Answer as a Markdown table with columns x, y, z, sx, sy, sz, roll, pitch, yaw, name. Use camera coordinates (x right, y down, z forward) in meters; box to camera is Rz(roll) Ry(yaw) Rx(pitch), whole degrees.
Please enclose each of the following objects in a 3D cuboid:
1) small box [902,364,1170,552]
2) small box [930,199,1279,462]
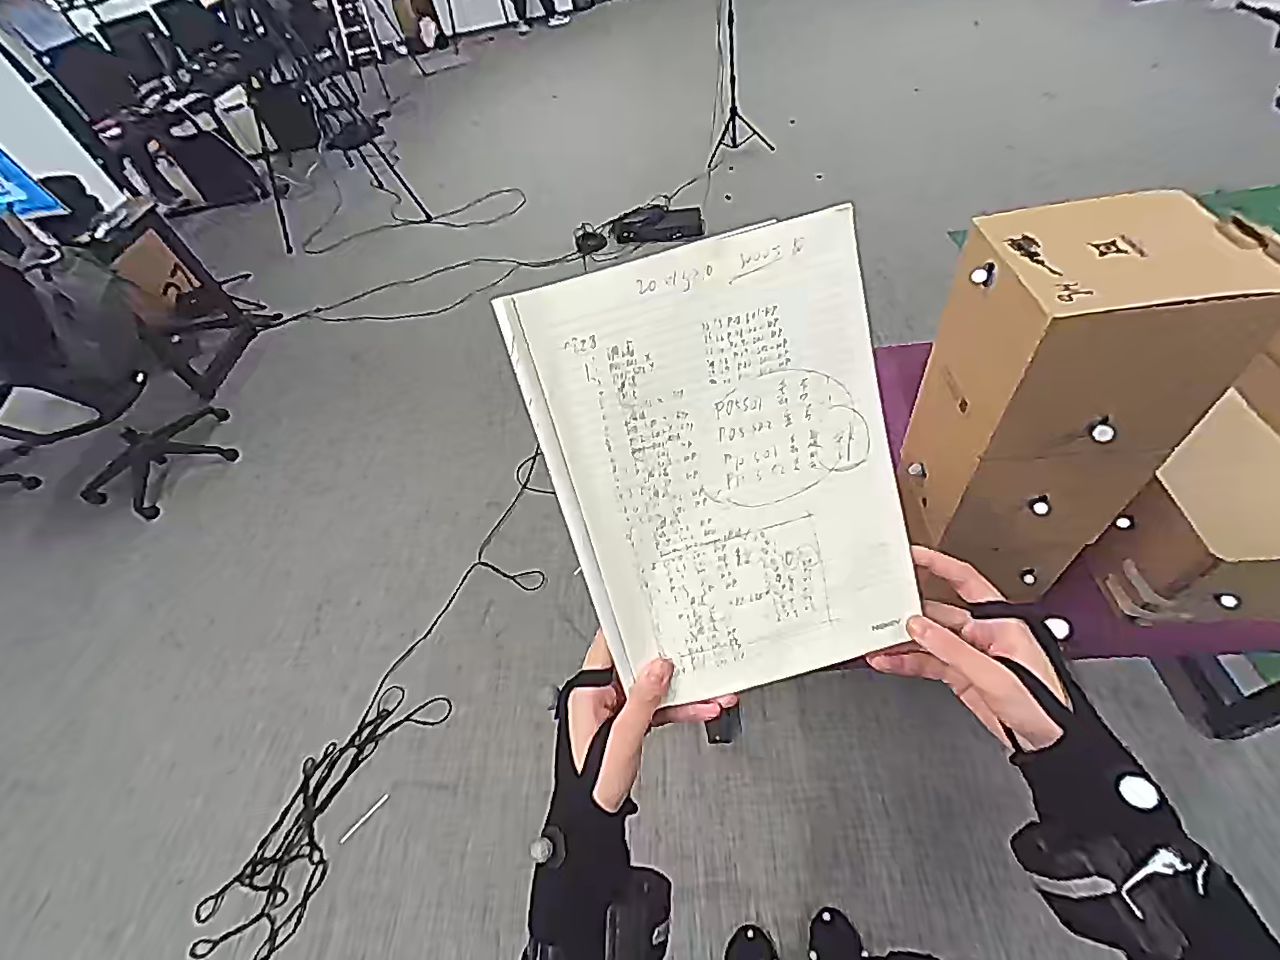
| x | y | z | sx | sy | sz | roll | pitch | yaw | name |
| --- | --- | --- | --- | --- | --- | --- | --- | --- | --- |
| 0.432 | -0.029 | 0.631 | 0.179 | 0.176 | 0.168 | -4 | 49 | 9 | small box |
| 0.406 | -0.133 | 0.507 | 0.179 | 0.176 | 0.168 | -4 | 48 | 8 | small box |
